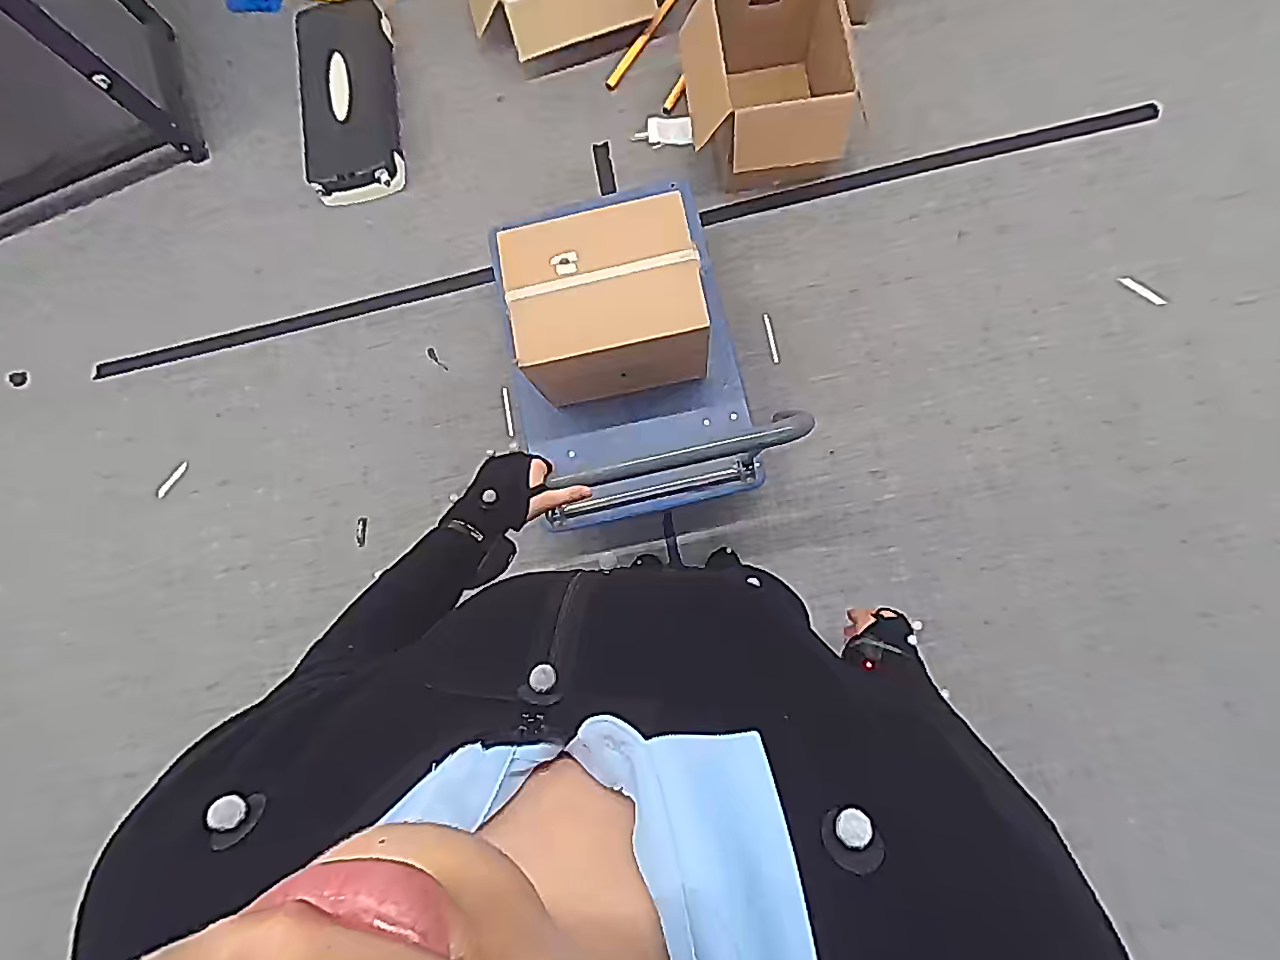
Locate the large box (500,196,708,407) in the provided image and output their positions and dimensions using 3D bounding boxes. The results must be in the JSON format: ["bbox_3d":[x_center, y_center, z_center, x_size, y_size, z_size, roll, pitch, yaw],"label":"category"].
[{"bbox_3d":[-0.068,-0.396,1.283,0.408,0.320,0.320,-12,80,4],"label":"large box"}]
